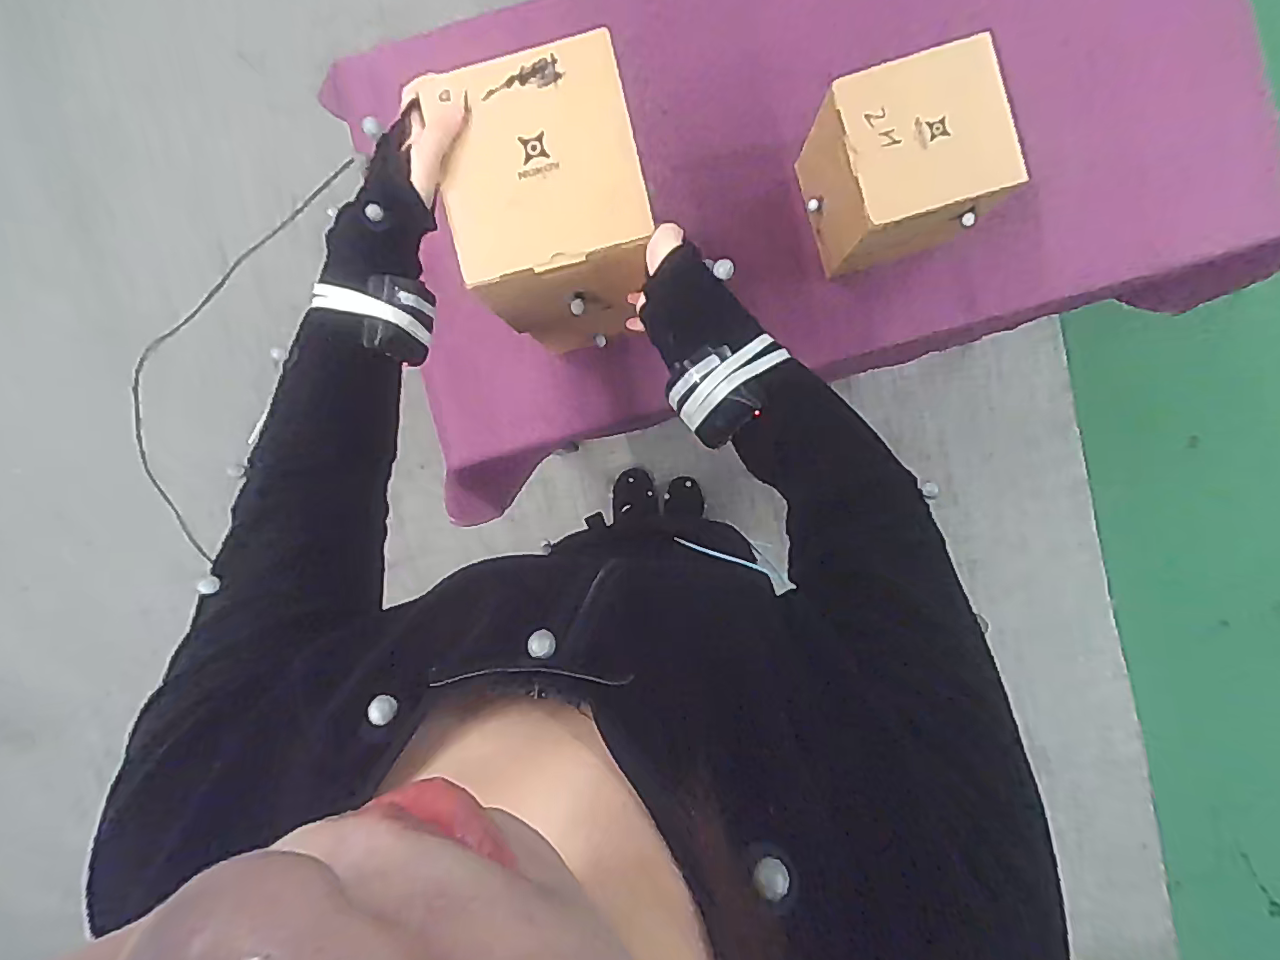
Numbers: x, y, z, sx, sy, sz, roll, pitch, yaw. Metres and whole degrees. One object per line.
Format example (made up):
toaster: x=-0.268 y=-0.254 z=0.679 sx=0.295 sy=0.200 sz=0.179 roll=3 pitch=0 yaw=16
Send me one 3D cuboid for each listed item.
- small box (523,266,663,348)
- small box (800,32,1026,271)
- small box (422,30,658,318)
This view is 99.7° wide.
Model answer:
small box: x=-0.070 y=-0.285 z=0.689 sx=0.168 sy=0.176 sz=0.179 roll=-13 pitch=93 yaw=4
small box: x=0.317 y=-0.382 z=0.663 sx=0.179 sy=0.176 sz=0.168 roll=-15 pitch=91 yaw=4
small box: x=-0.079 y=-0.269 z=0.526 sx=0.168 sy=0.176 sz=0.179 roll=-13 pitch=93 yaw=3
